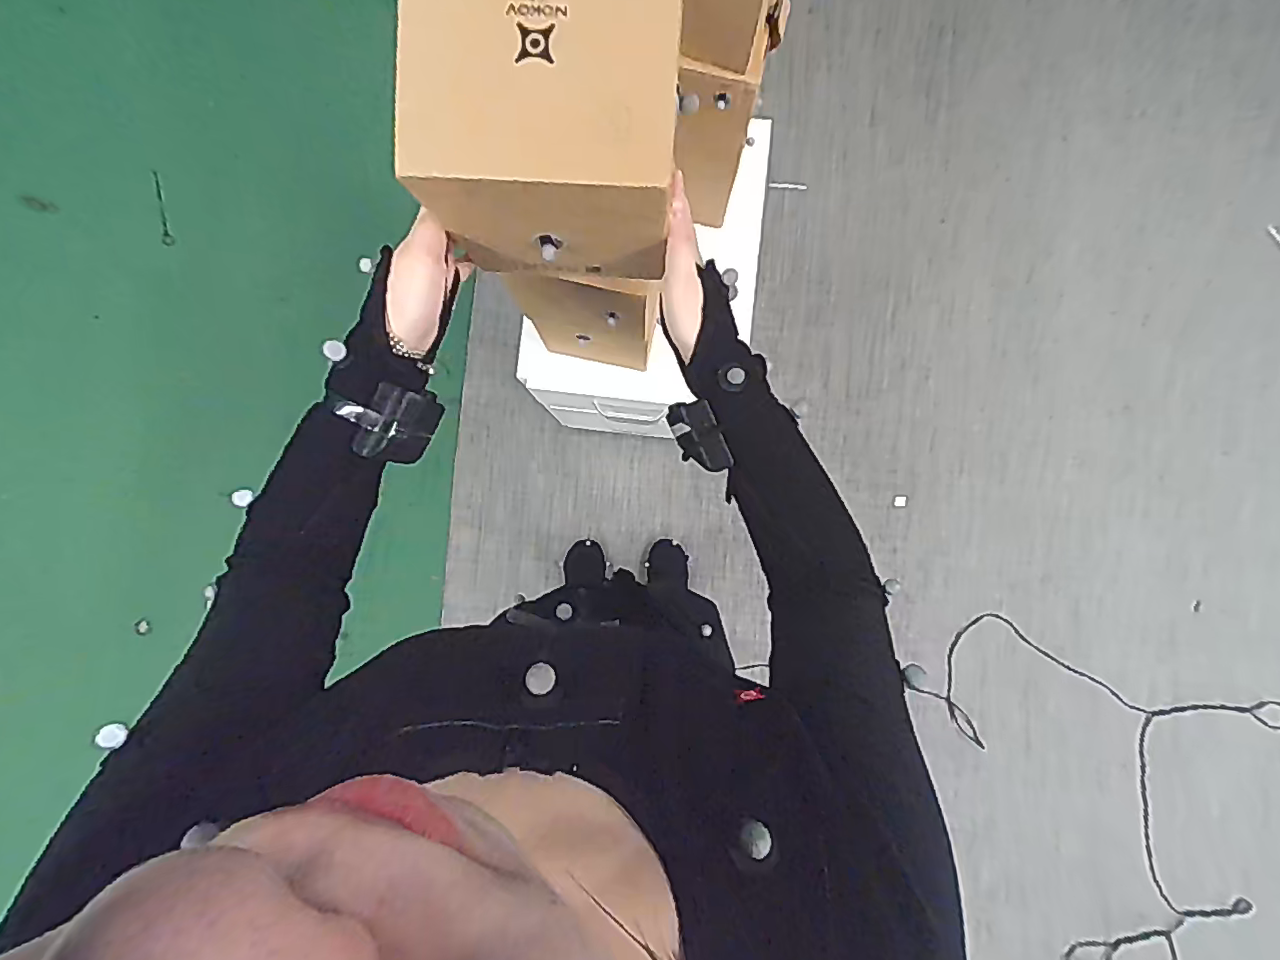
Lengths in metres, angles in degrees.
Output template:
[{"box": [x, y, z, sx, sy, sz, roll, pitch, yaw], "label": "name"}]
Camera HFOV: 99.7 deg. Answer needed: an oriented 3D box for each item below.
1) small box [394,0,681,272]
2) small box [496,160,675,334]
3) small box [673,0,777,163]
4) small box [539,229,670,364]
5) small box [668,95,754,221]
[{"box": [-0.057, -0.267, 0.395, 0.168, 0.176, 0.179, 4, 92, 0], "label": "small box"}, {"box": [-0.061, -0.300, 0.689, 0.179, 0.176, 0.168, 12, 86, 1], "label": "small box"}, {"box": [0.069, -0.549, 0.702, 0.179, 0.176, 0.168, 13, 88, 0], "label": "small box"}, {"box": [-0.059, -0.294, 0.852, 0.179, 0.176, 0.168, 12, 87, -1], "label": "small box"}, {"box": [0.074, -0.545, 0.865, 0.179, 0.176, 0.168, 13, 88, 1], "label": "small box"}]
